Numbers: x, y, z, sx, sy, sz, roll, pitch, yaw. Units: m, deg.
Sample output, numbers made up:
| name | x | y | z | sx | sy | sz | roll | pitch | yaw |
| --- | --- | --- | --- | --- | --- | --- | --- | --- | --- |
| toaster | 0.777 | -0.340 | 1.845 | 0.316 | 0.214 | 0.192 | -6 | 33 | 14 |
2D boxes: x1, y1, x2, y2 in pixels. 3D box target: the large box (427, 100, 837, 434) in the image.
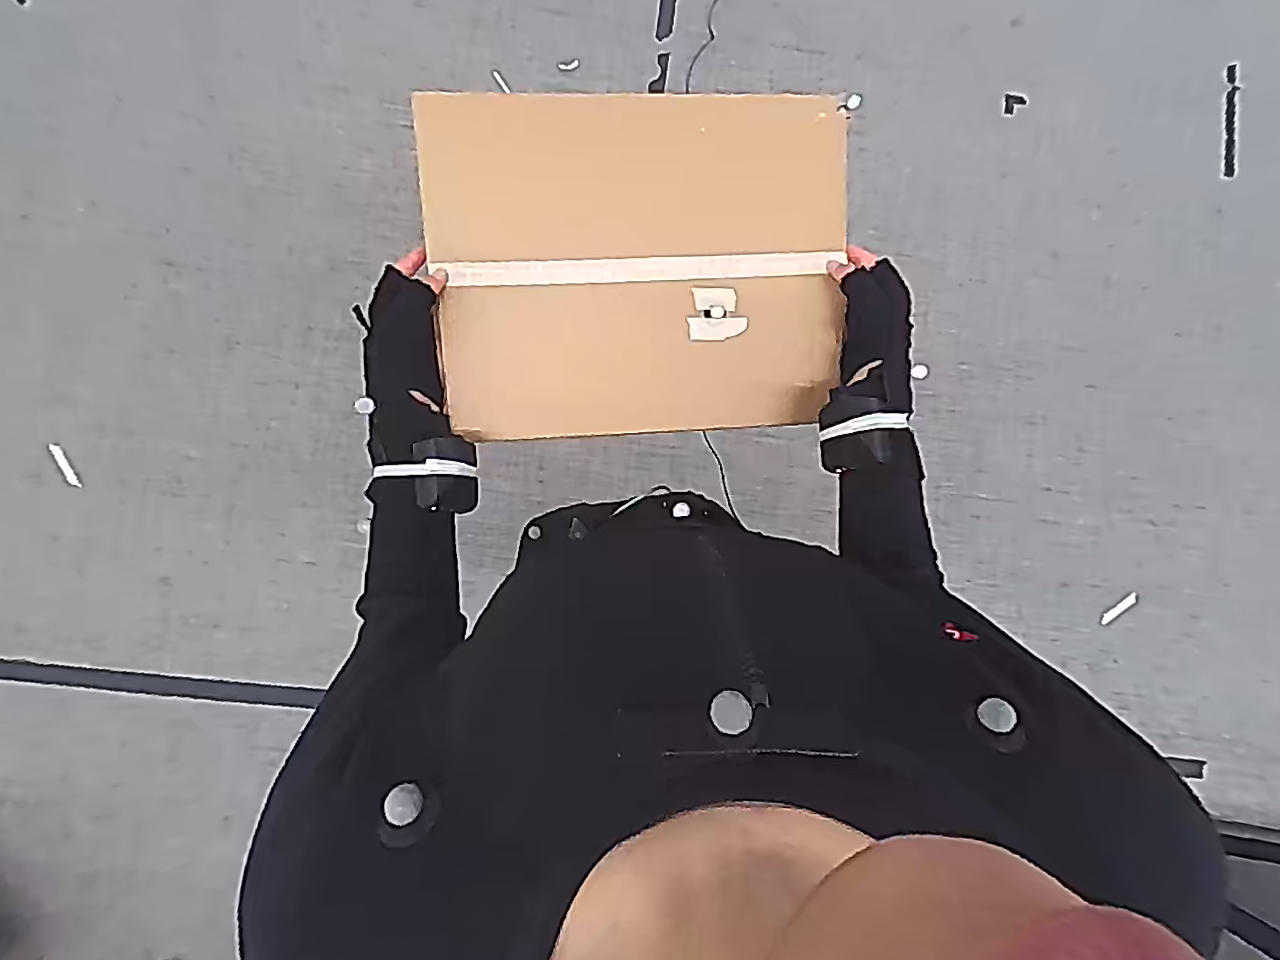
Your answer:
| name | x | y | z | sx | sy | sz | roll | pitch | yaw |
| --- | --- | --- | --- | --- | --- | --- | --- | --- | --- |
| large box | -0.012 | -0.230 | 0.685 | 0.408 | 0.320 | 0.320 | -3 | 99 | -6 |
